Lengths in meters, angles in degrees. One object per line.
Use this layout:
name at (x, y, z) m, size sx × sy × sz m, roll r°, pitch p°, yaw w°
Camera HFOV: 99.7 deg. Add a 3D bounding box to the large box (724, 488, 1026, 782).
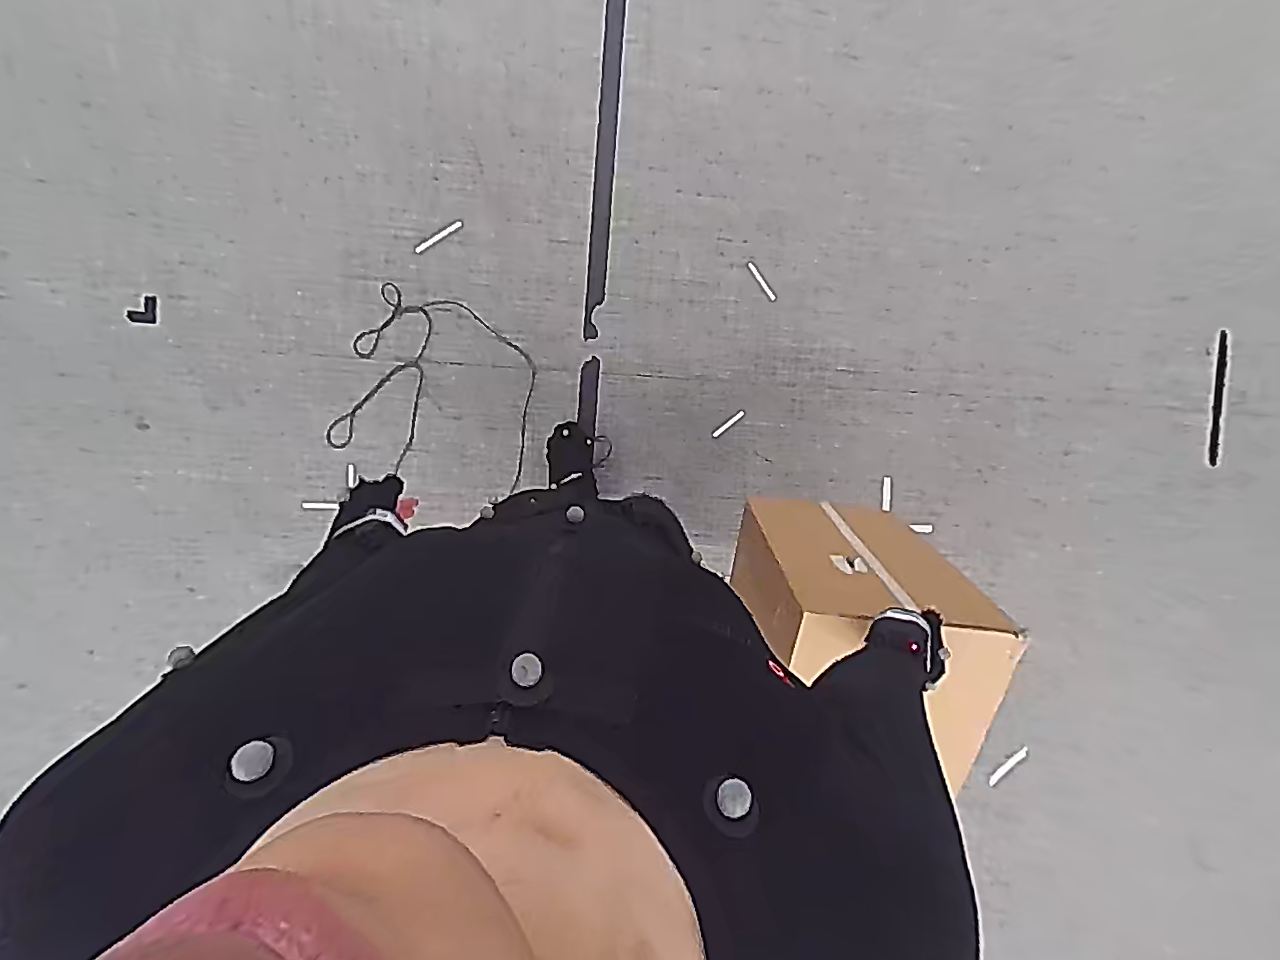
large box at (0.357, 0.248, 0.968) m, size 0.320 × 0.408 × 0.320 m, roll 6°, pitch 112°, yaw -3°
